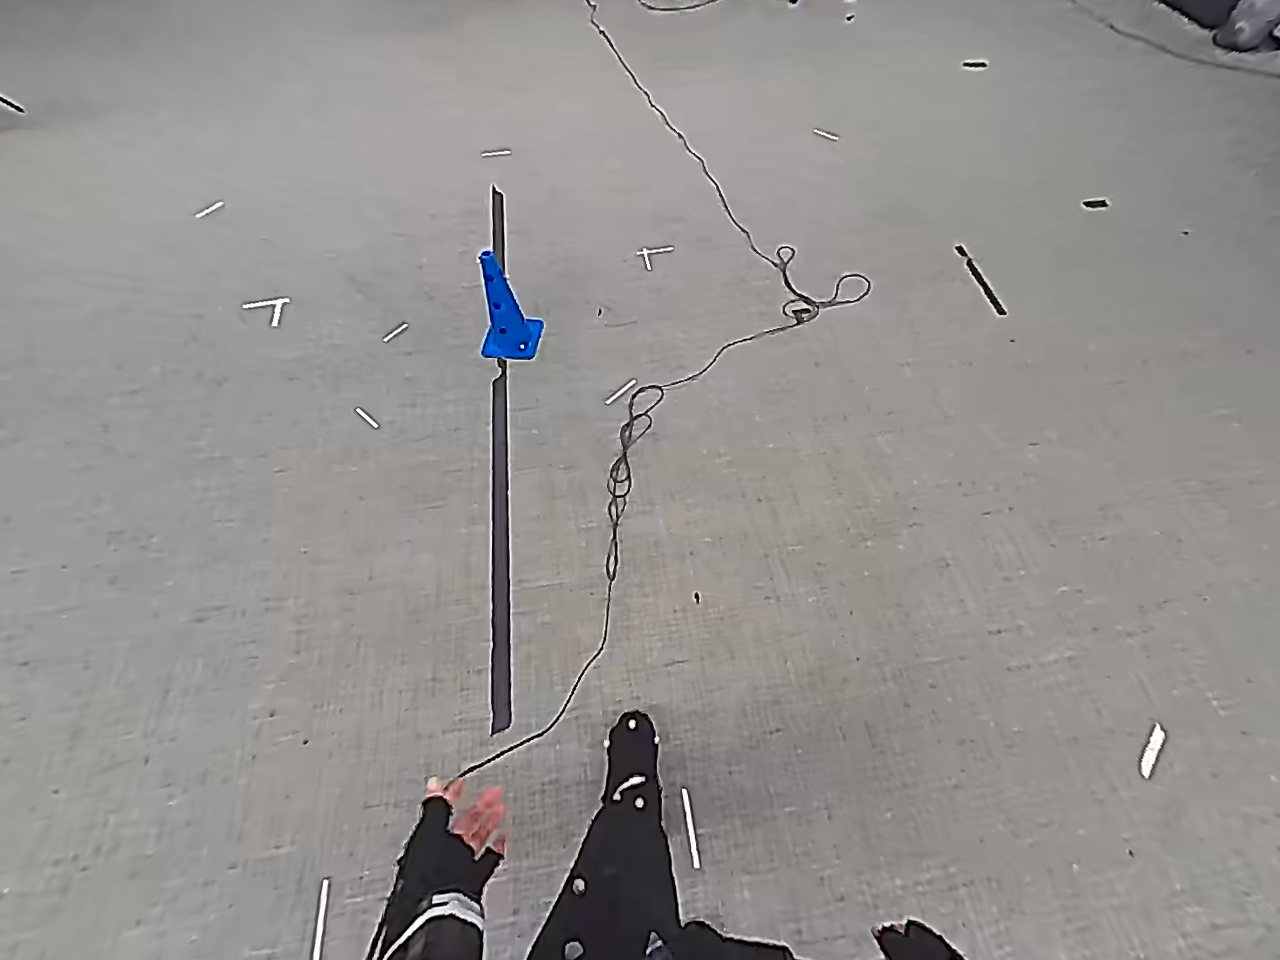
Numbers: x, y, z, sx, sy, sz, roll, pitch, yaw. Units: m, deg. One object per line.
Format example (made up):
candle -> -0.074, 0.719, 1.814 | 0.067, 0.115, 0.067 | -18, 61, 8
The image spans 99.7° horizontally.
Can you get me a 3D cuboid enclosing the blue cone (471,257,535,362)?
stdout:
blue cone -> -0.496, -0.593, 1.854 | 0.192, 0.380, 0.193 | 5, 59, 6
